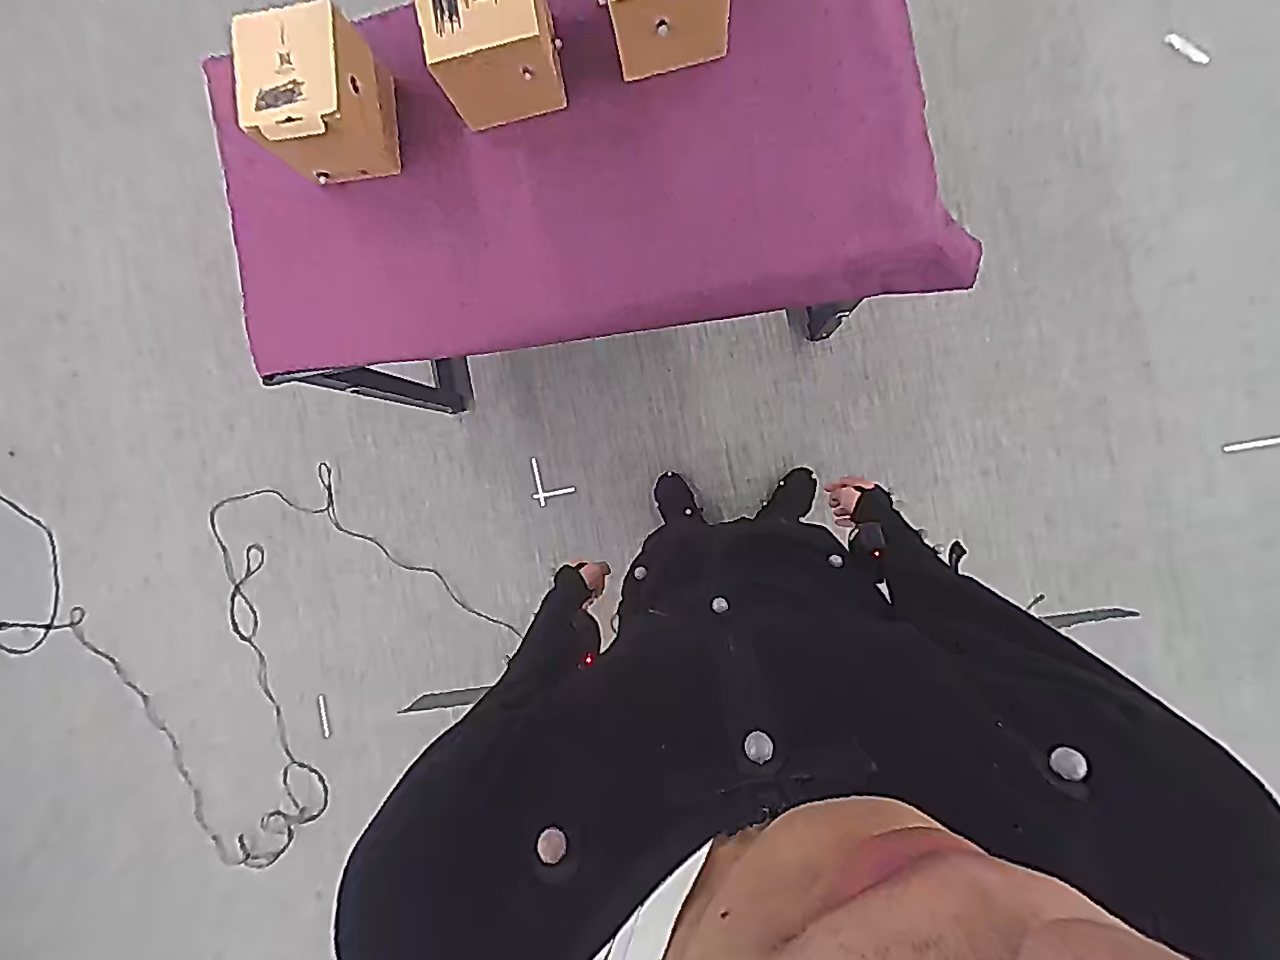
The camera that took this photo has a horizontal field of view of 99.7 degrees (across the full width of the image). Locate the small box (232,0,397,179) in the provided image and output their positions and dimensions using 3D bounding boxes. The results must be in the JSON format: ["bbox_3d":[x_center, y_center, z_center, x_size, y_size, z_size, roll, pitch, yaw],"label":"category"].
[{"bbox_3d":[-0.522,-0.622,0.890,0.168,0.176,0.179,-4,91,6],"label":"small box"}]
